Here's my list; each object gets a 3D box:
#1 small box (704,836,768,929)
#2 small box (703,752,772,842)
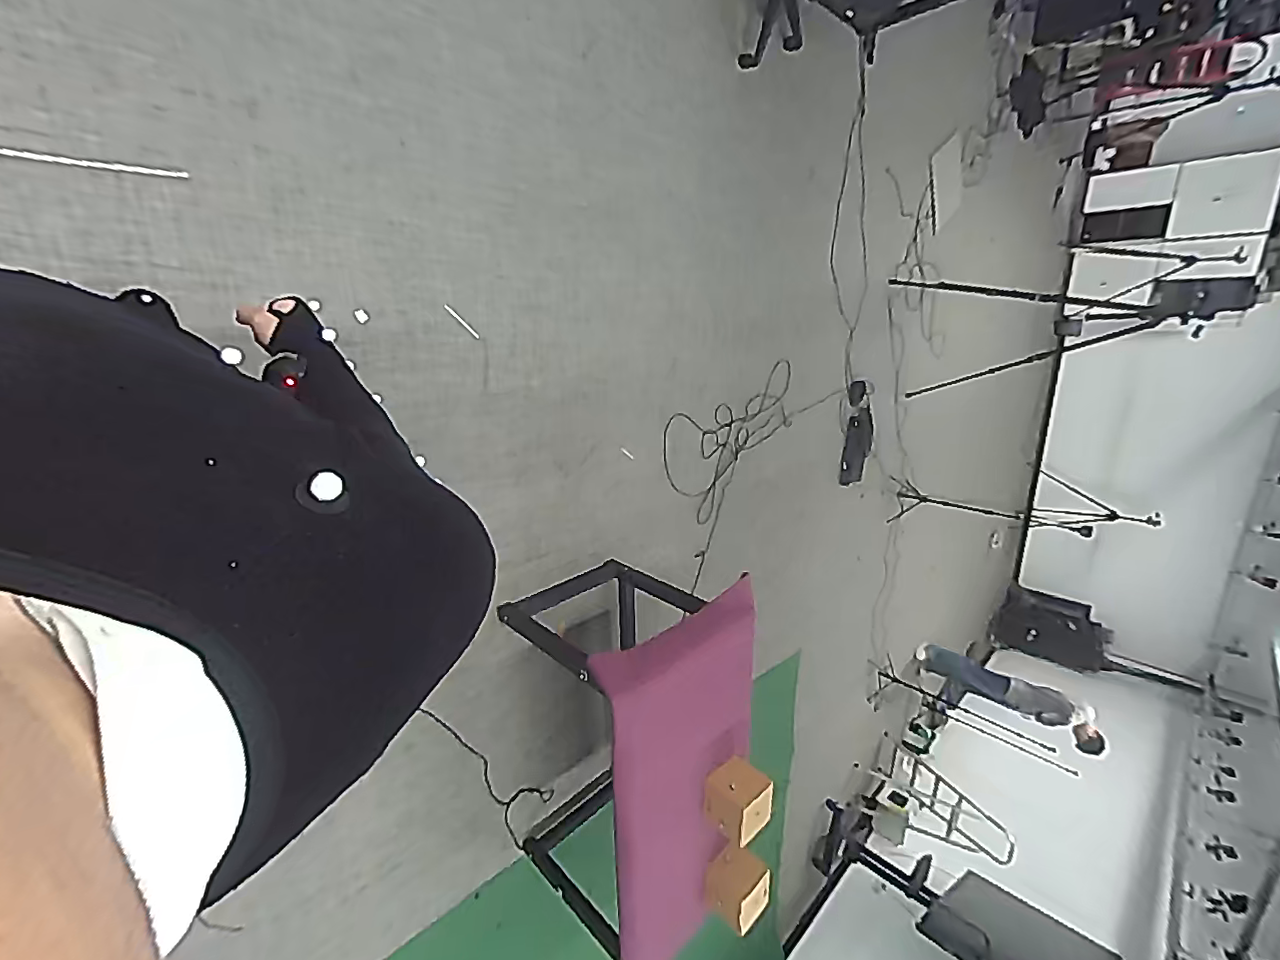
[{"bbox_3d":[0.351,1.482,2.003,0.179,0.176,0.168,-16,112,-40],"label":"small box"},{"bbox_3d":[0.336,1.094,1.879,0.179,0.176,0.168,-13,111,-42],"label":"small box"}]
